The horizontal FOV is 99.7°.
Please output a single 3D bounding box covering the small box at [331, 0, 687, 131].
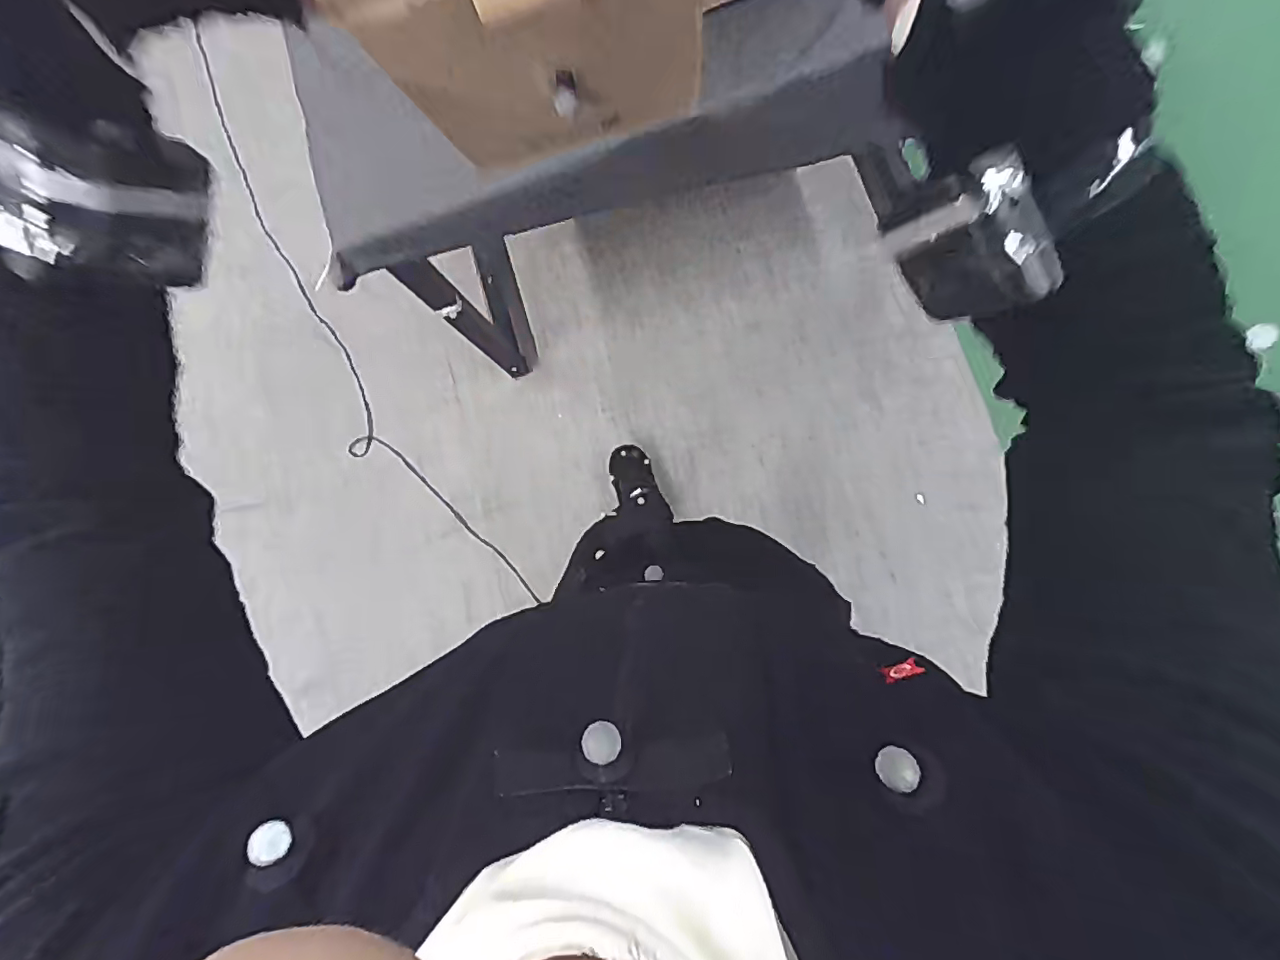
[{"bbox_3d":[-0.068,-0.319,0.287,0.168,0.176,0.179,-12,99,6],"label":"small box"}]
